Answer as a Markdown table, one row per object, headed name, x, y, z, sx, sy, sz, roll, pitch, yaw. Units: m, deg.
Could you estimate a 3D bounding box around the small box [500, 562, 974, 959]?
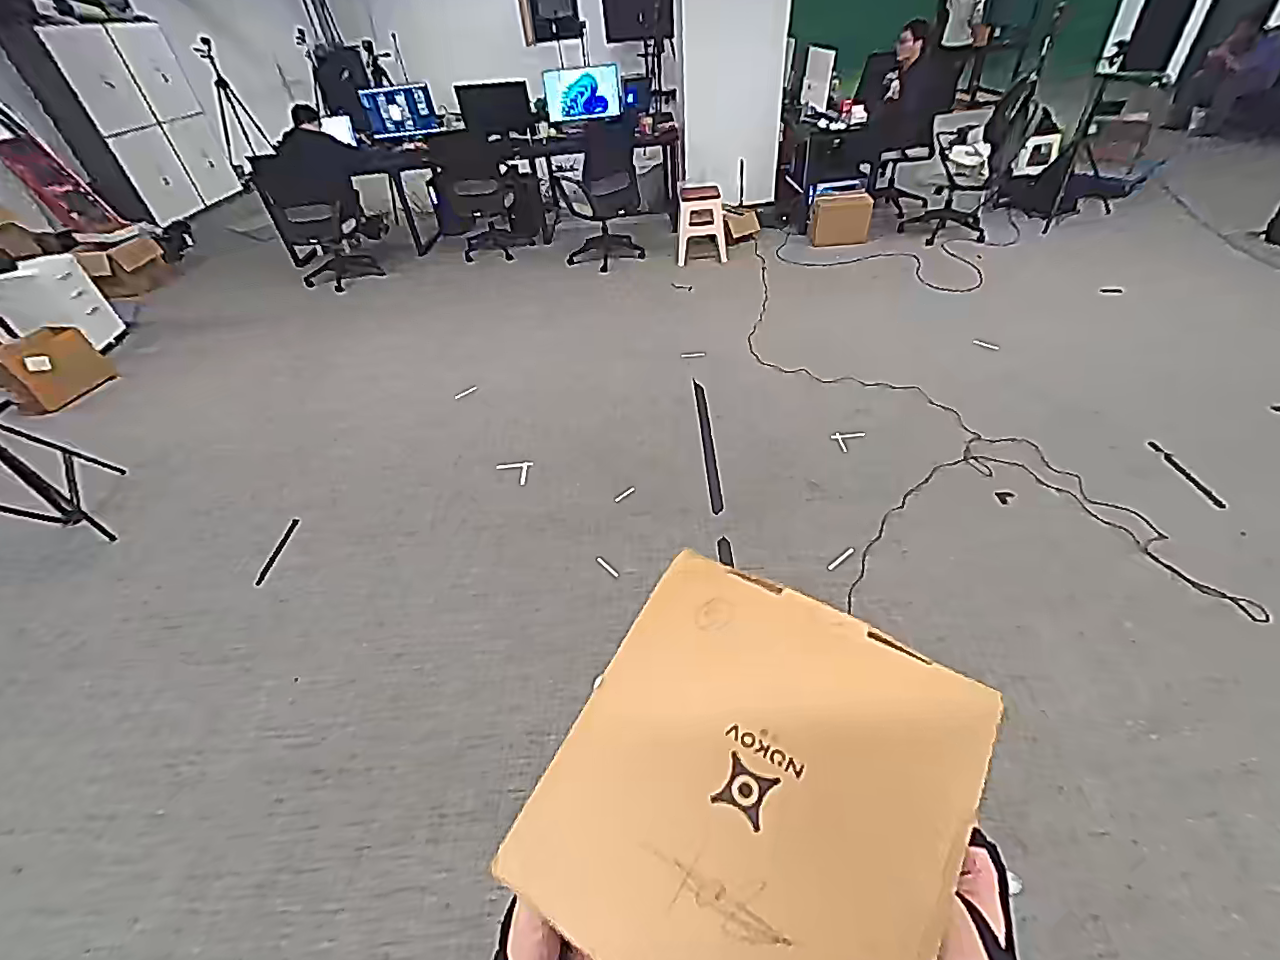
| name | x | y | z | sx | sy | sz | roll | pitch | yaw |
| --- | --- | --- | --- | --- | --- | --- | --- | --- | --- |
| small box | 0.058 | 0.183 | 0.314 | 0.168 | 0.176 | 0.179 | 21 | 65 | 24 |
